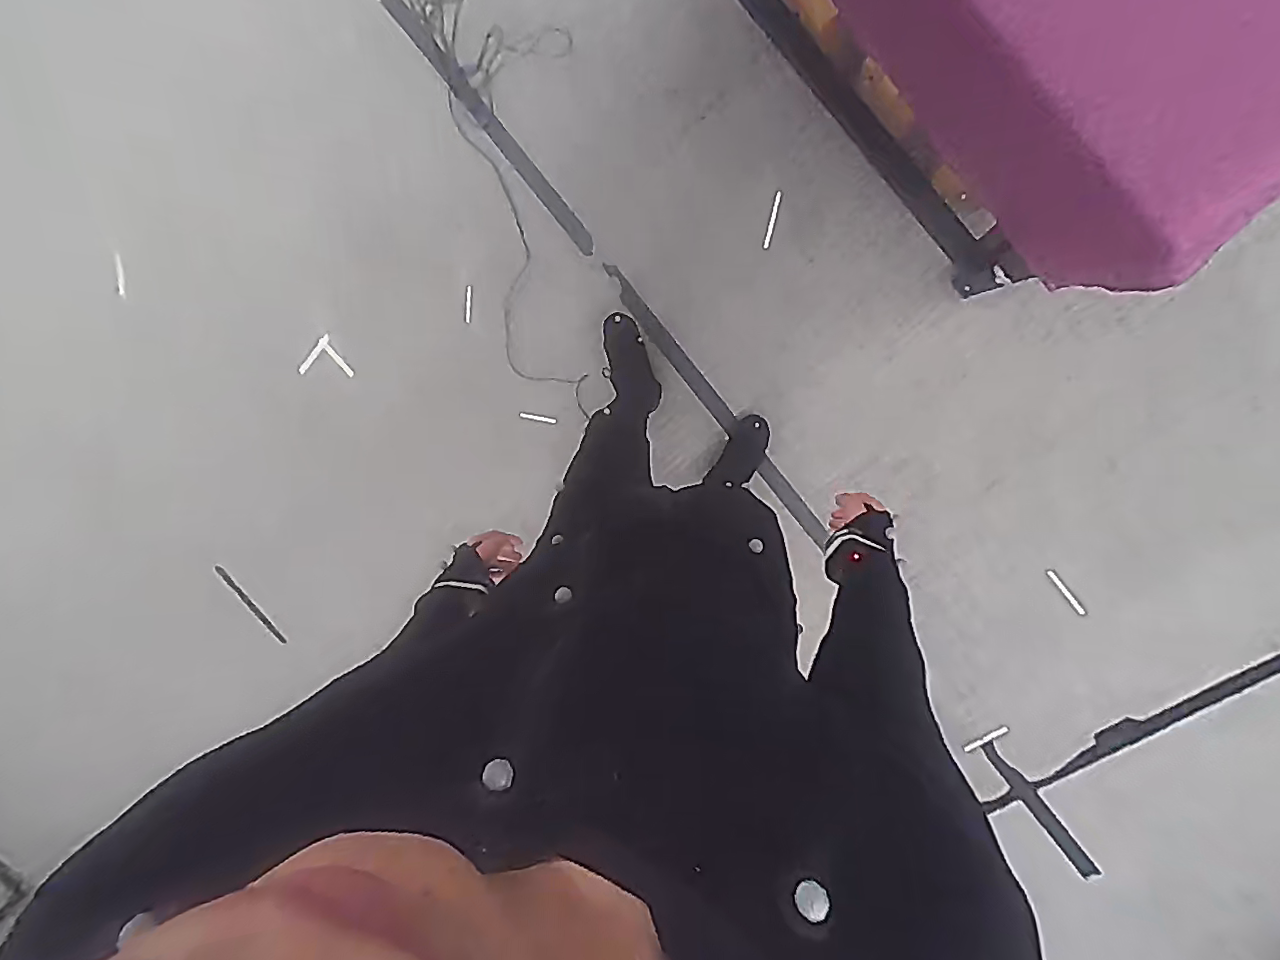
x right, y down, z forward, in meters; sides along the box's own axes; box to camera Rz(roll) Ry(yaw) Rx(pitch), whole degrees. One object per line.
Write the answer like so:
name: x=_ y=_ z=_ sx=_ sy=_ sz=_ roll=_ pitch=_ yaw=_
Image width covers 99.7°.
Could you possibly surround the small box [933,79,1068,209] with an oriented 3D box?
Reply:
small box: x=0.793 y=-0.744 z=1.215 sx=0.168 sy=0.176 sz=0.179 roll=22 pitch=106 yaw=8
